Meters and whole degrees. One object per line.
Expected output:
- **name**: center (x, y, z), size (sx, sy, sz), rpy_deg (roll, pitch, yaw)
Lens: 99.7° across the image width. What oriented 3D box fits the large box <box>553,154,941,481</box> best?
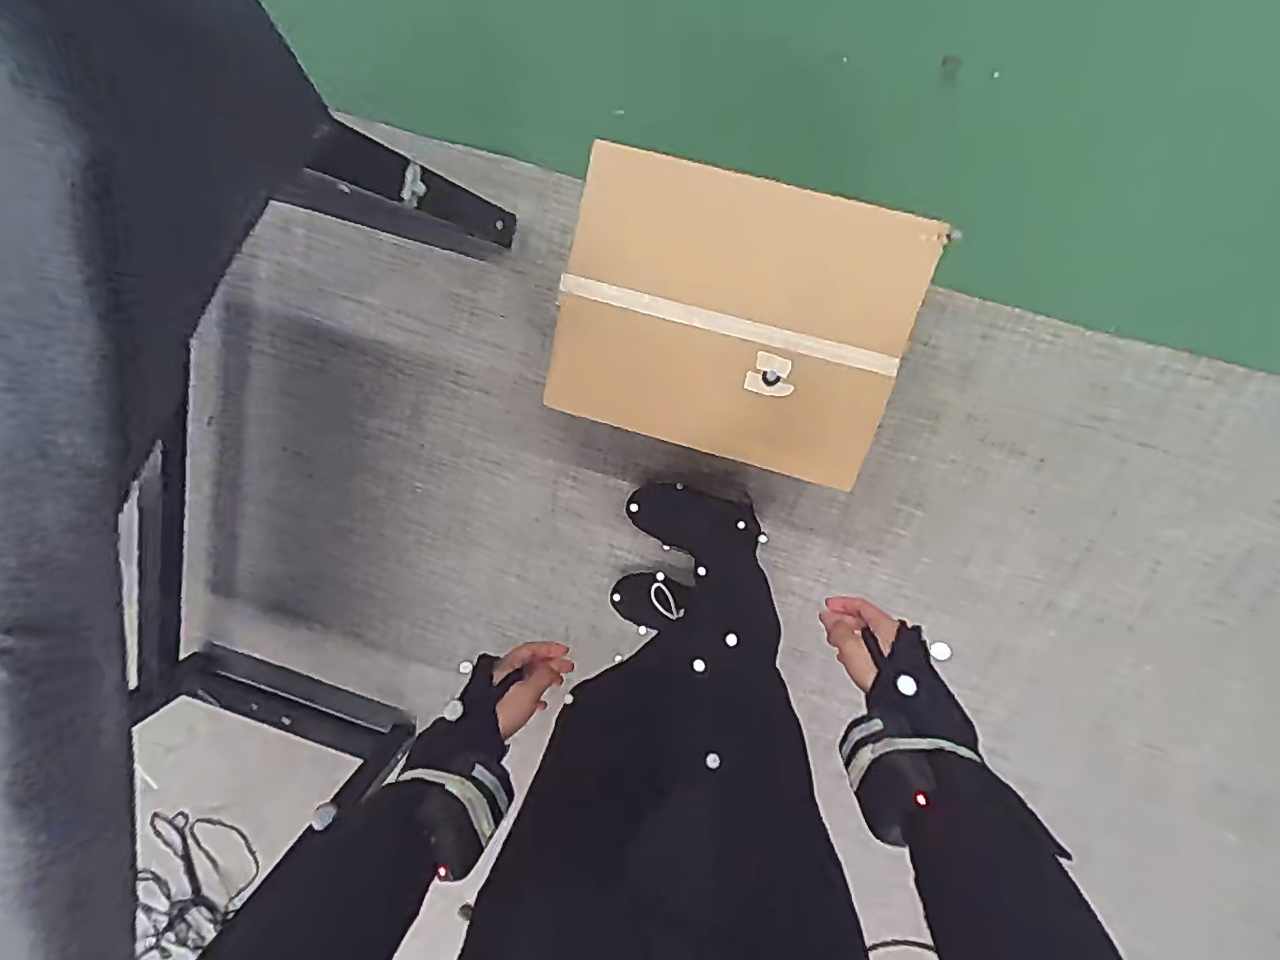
- **large box**: center (0.127, -0.223, 0.791), size (0.408, 0.320, 0.320), rpy_deg (15, 106, 4)
